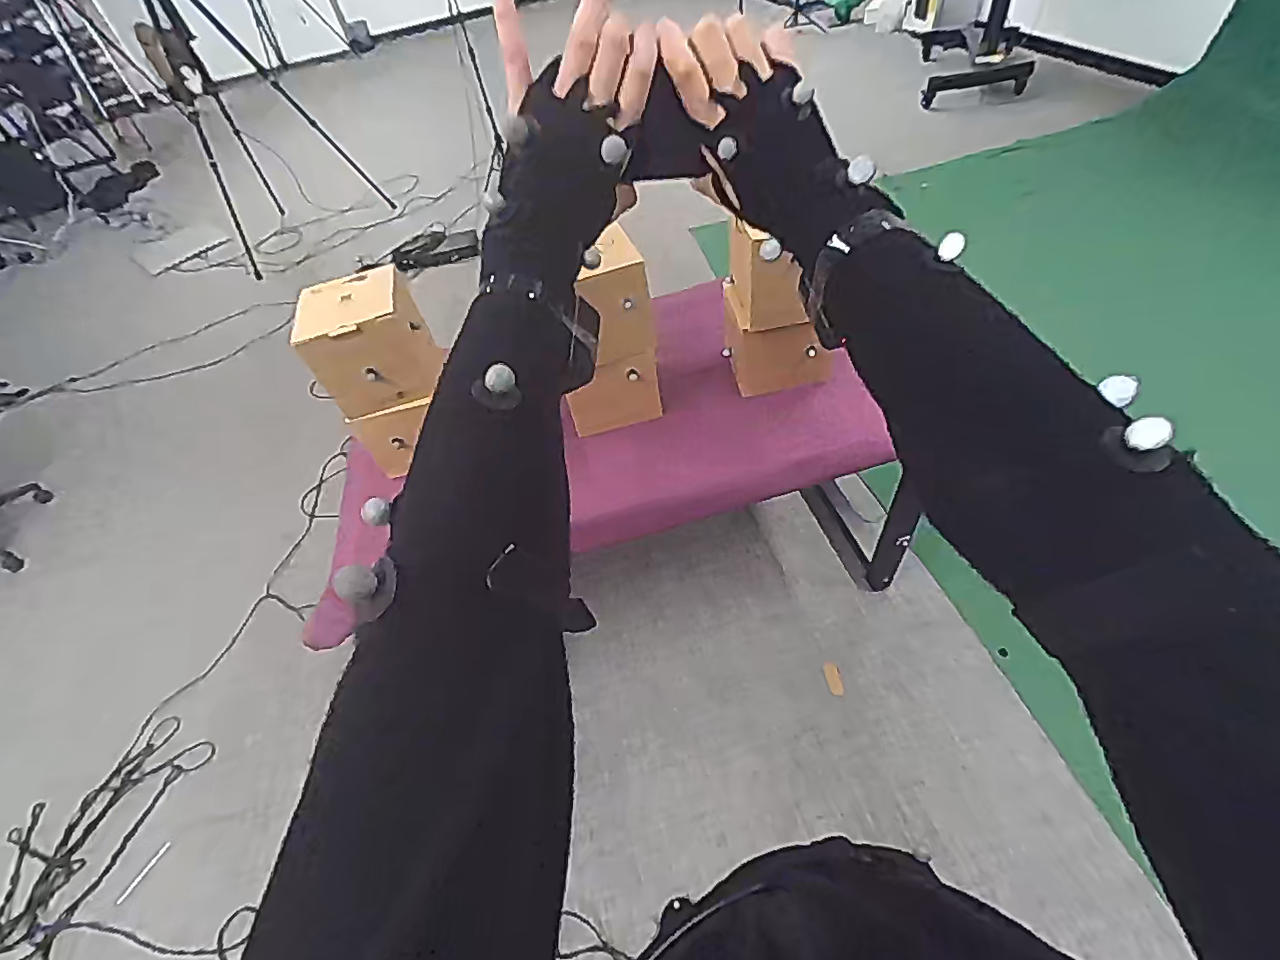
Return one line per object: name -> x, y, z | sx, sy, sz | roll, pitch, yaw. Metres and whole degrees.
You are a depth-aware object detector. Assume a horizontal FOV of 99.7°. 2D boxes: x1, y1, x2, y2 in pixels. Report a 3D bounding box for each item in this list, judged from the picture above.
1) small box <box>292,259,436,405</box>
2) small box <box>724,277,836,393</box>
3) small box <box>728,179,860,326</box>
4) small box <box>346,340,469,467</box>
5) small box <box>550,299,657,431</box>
small box -> -0.474, -0.252, 0.955 | 0.168, 0.176, 0.179 | -17, 51, -5
small box -> 0.266, -0.295, 1.071 | 0.179, 0.176, 0.168 | -9, 50, 3
small box -> 0.255, -0.387, 0.935 | 0.179, 0.176, 0.168 | -9, 50, 2
small box -> -0.450, -0.144, 1.077 | 0.168, 0.176, 0.179 | -14, 51, -1
small box -> -0.067, -0.224, 1.071 | 0.179, 0.176, 0.168 | -14, 50, -1
